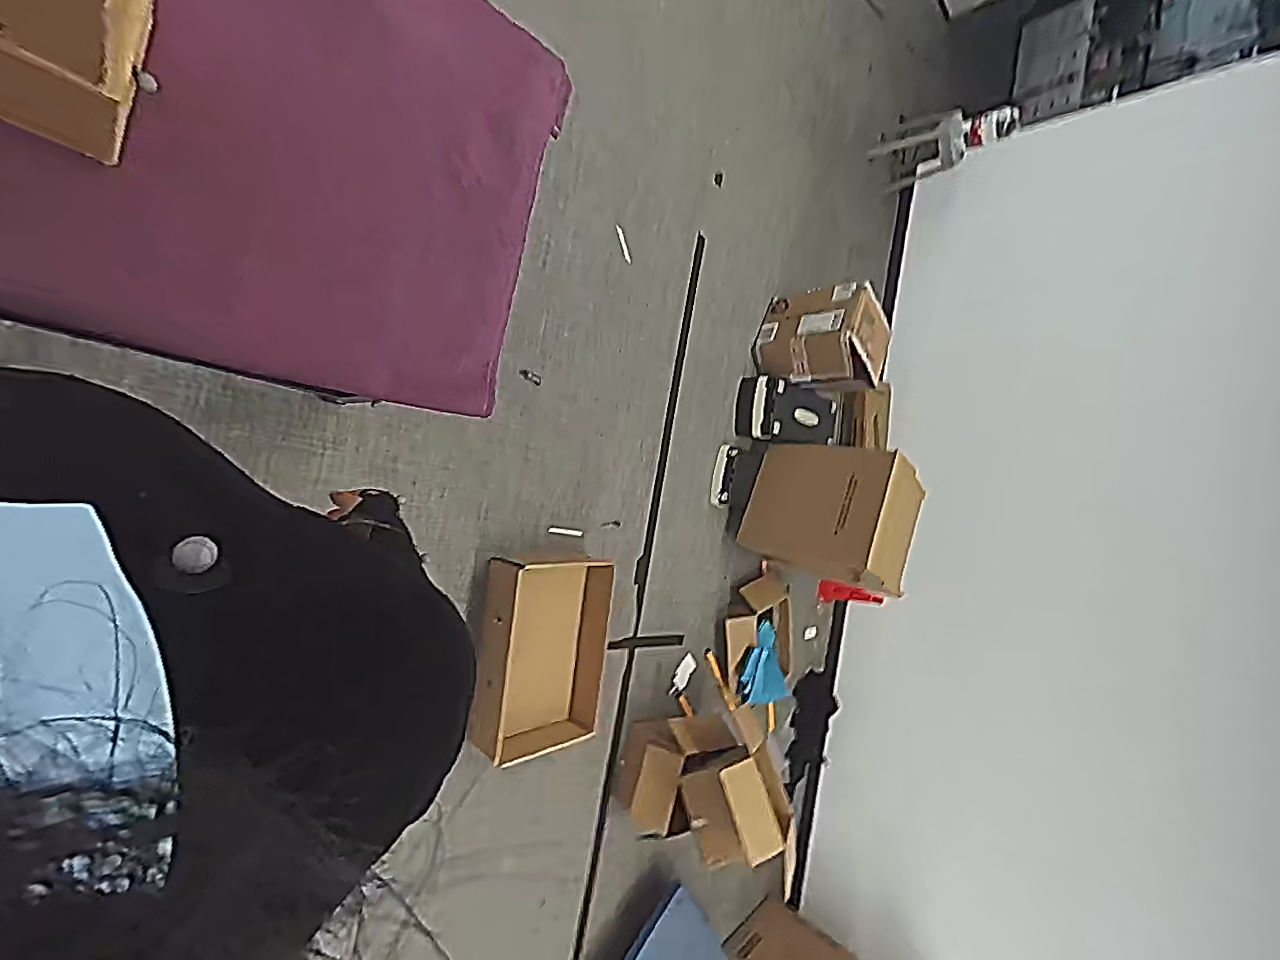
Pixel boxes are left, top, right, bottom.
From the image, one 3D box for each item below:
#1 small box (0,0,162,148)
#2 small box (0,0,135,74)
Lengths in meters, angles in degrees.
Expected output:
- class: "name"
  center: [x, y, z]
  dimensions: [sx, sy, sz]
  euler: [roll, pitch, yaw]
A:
- class: "small box"
  center: [-0.527, -0.414, 0.450]
  dimensions: [0.179, 0.176, 0.168]
  euler: [15, 85, -45]
- class: "small box"
  center: [-0.413, -0.408, 0.330]
  dimensions: [0.168, 0.176, 0.179]
  euler: [15, 84, -46]
